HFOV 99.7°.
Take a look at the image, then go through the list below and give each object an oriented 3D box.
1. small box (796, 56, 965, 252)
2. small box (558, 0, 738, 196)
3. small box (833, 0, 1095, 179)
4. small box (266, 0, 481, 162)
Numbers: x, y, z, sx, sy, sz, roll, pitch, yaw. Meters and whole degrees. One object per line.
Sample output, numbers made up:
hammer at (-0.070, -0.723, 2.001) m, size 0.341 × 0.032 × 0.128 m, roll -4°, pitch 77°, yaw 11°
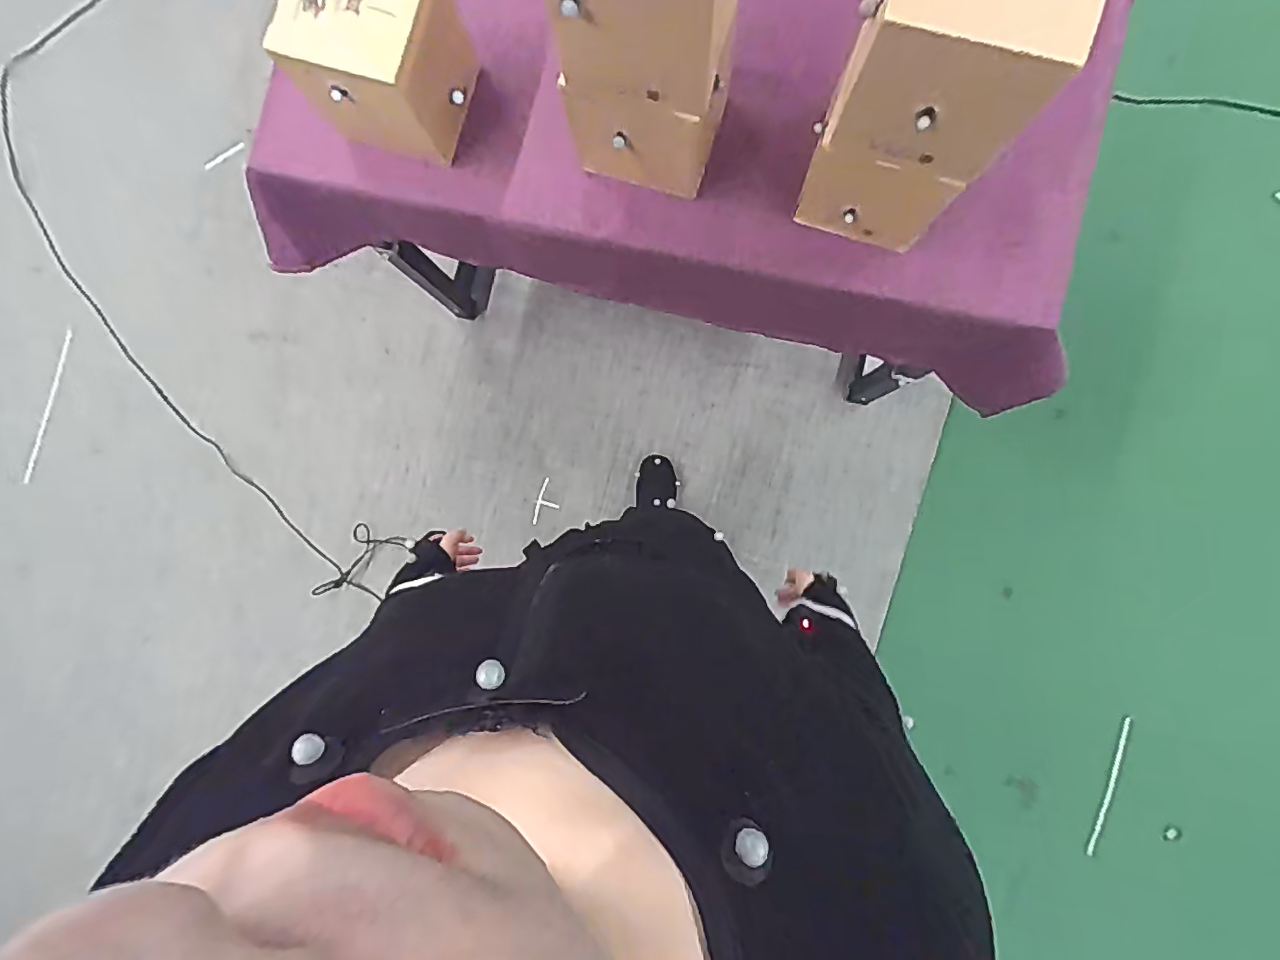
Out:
small box at (0.315, -0.429, 0.690) m, size 0.168 × 0.176 × 0.179 m, roll 19°, pitch 90°, yaw 4°
small box at (0.015, -0.508, 0.710) m, size 0.179 × 0.176 × 0.168 m, roll 18°, pitch 89°, yaw 5°
small box at (0.306, -0.434, 0.525) m, size 0.168 × 0.176 × 0.179 m, roll 17°, pitch 89°, yaw 3°
small box at (-0.345, -0.571, 0.733) m, size 0.179 × 0.176 × 0.168 m, roll 17°, pitch 89°, yaw 3°
